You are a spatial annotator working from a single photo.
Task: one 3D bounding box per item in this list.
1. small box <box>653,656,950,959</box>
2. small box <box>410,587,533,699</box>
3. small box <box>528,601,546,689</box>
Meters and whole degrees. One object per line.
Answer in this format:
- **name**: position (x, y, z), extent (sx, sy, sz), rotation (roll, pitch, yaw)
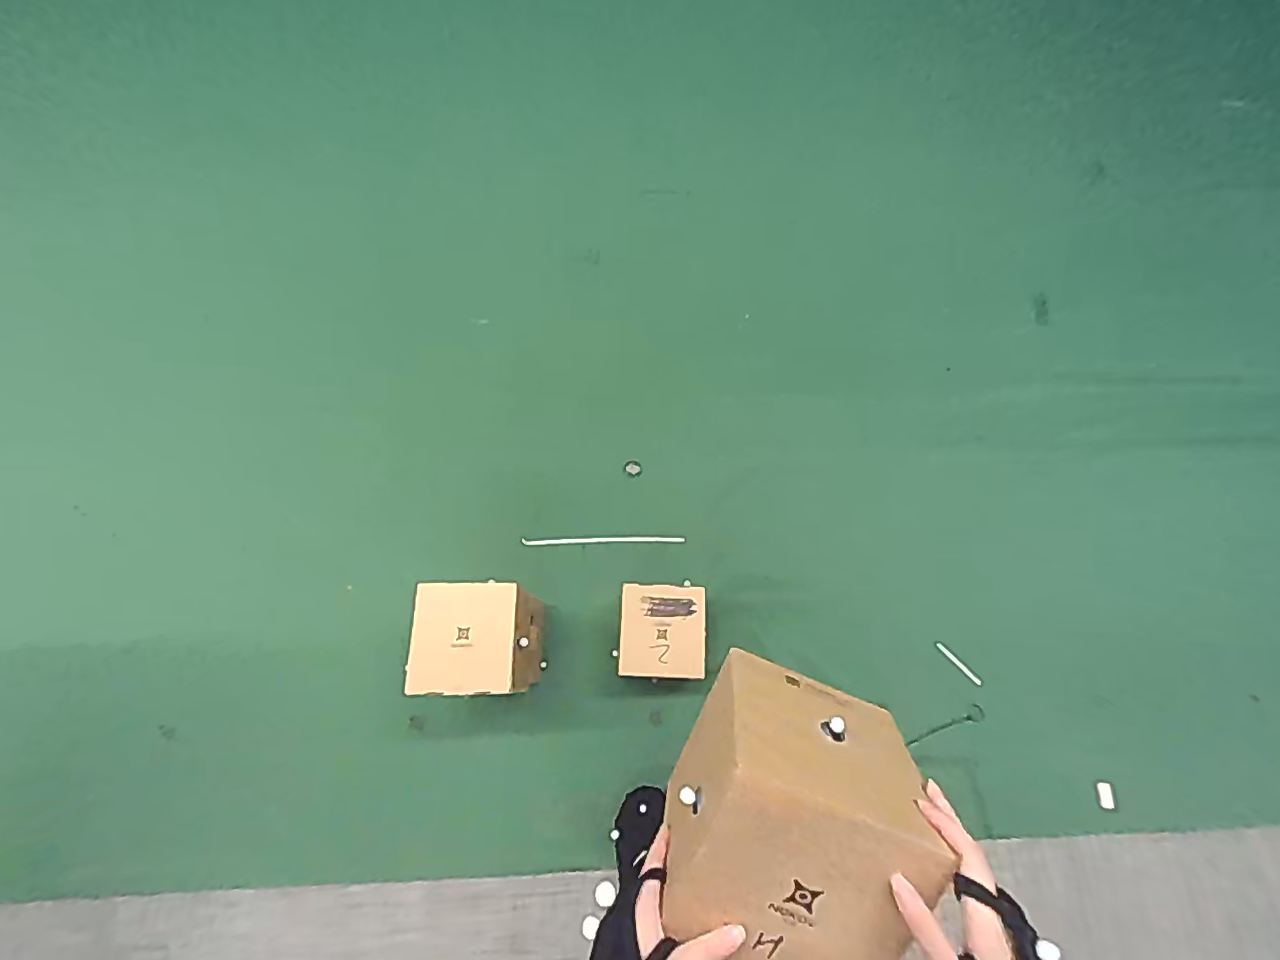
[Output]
- **small box**: position (0.124, 0.289, 0.476), extent (0.168, 0.176, 0.179), rotation (22, 104, 4)
- **small box**: position (-0.284, 0.288, 0.951), extent (0.168, 0.176, 0.179), rotation (0, 72, -2)
- **small box**: position (-0.290, 0.338, 1.106), extent (0.179, 0.176, 0.168), rotation (0, 71, -1)
